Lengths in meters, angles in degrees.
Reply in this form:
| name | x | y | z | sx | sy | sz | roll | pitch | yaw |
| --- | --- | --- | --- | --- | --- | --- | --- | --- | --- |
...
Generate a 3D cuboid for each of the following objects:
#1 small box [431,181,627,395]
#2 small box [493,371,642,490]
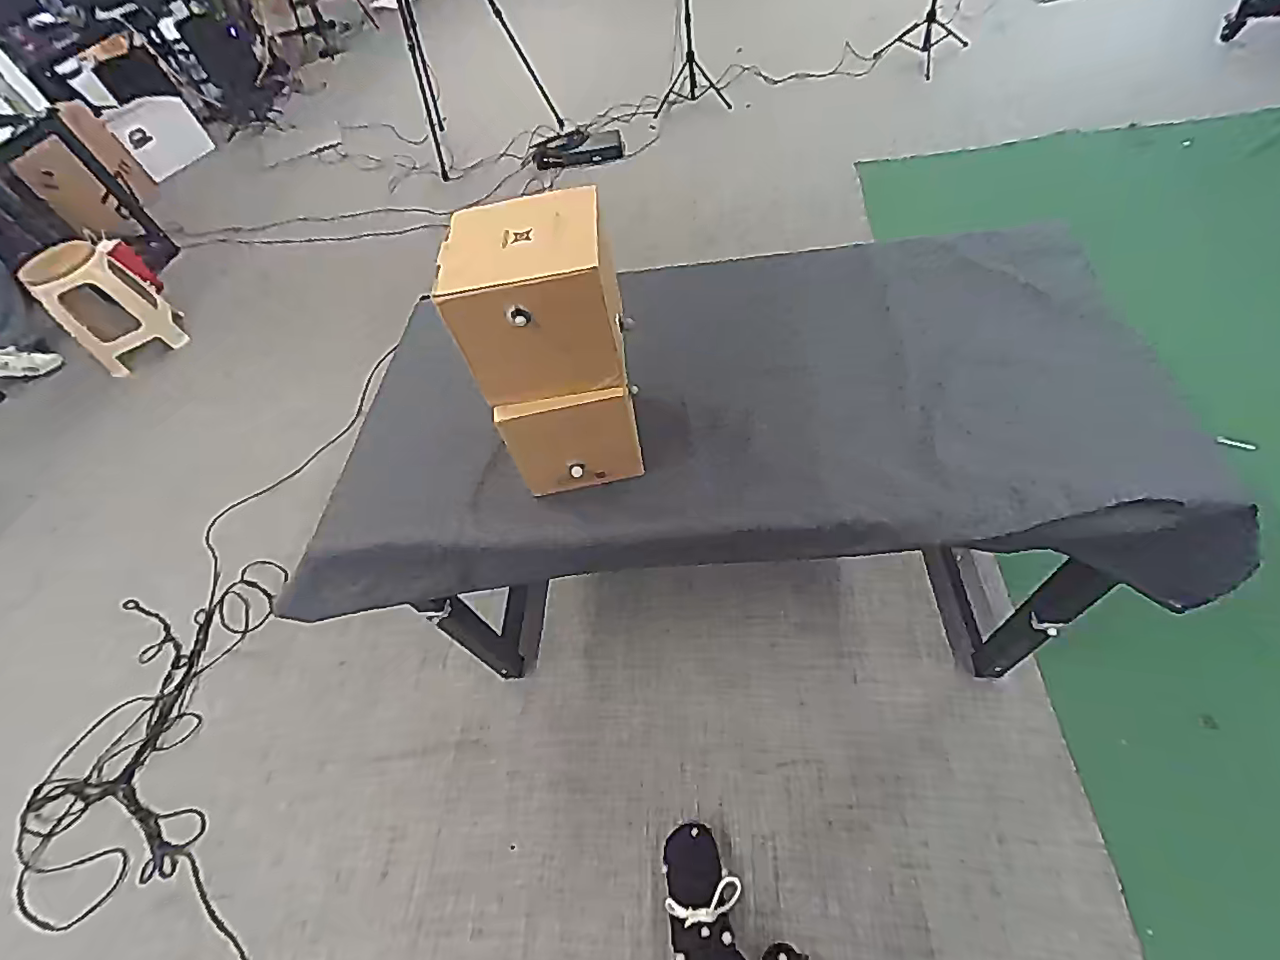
| name | x | y | z | sx | sy | sz | roll | pitch | yaw |
| --- | --- | --- | --- | --- | --- | --- | --- | --- | --- |
| small box | -0.117 | -0.219 | 0.643 | 0.179 | 0.176 | 0.168 | -7 | 55 | 5 |
| small box | -0.096 | -0.112 | 0.765 | 0.168 | 0.176 | 0.179 | -11 | 54 | 3 |
